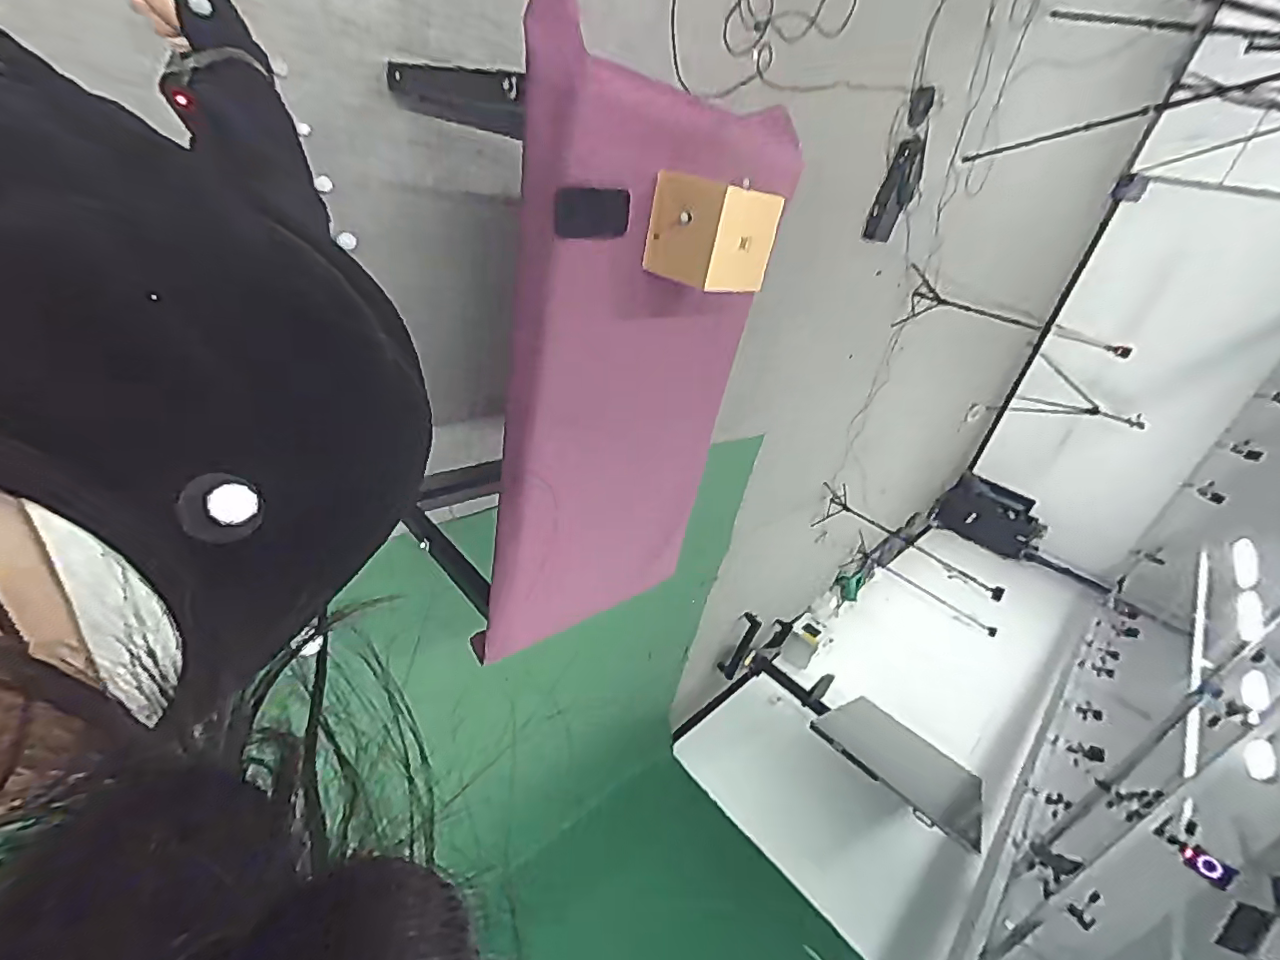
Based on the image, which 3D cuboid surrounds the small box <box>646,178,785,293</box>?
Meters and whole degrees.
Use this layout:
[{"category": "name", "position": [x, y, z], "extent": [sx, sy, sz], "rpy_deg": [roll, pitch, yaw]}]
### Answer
[{"category": "small box", "position": [0.134, -0.453, 1.004], "extent": [0.179, 0.176, 0.168], "rpy_deg": [-19, 131, -42]}]
